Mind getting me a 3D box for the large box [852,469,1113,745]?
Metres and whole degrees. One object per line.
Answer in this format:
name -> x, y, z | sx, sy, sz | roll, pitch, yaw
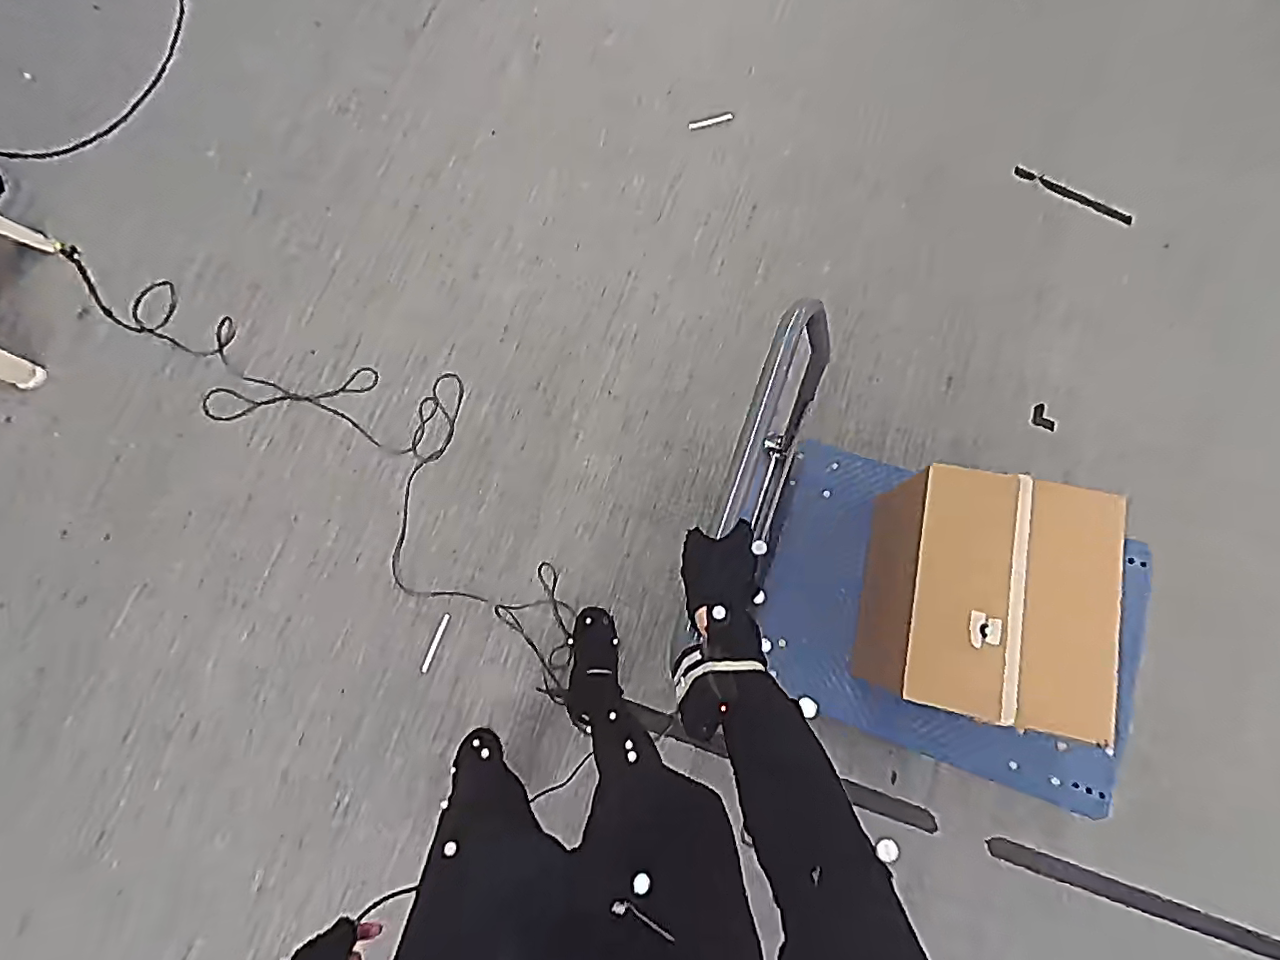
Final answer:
large box -> 0.625, 0.225, 1.037 | 0.320, 0.320, 0.408 | 10, 79, 9
